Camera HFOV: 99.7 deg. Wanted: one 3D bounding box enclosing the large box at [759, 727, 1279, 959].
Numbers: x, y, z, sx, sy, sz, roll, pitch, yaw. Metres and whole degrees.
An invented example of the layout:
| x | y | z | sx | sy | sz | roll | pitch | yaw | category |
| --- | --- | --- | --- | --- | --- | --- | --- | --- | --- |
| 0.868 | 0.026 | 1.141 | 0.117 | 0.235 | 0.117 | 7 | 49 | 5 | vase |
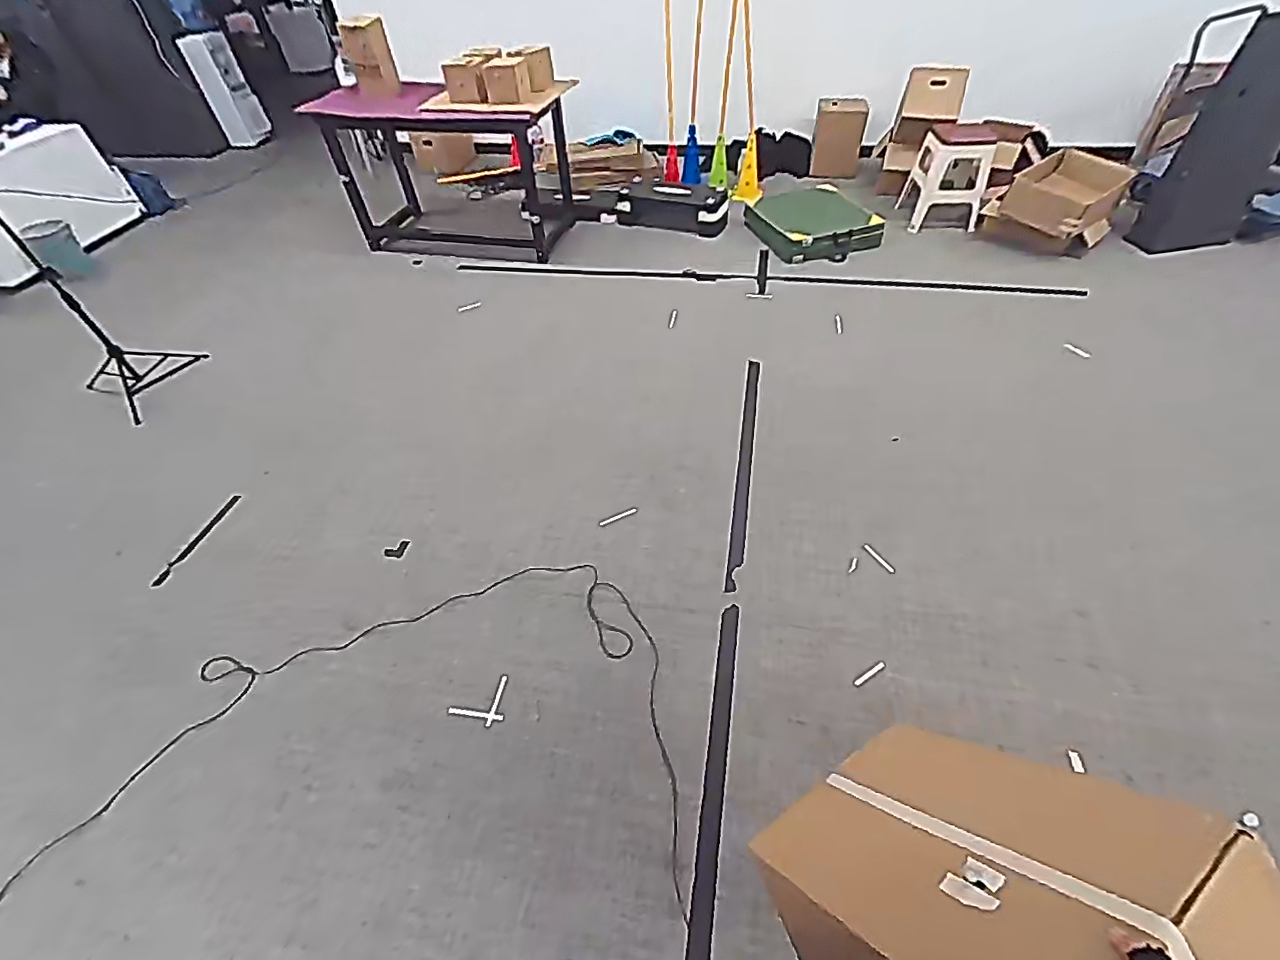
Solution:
| x | y | z | sx | sy | sz | roll | pitch | yaw | category |
| --- | --- | --- | --- | --- | --- | --- | --- | --- | --- |
| 0.413 | 0.536 | 0.598 | 0.320 | 0.408 | 0.320 | -24 | 88 | -23 | large box |
